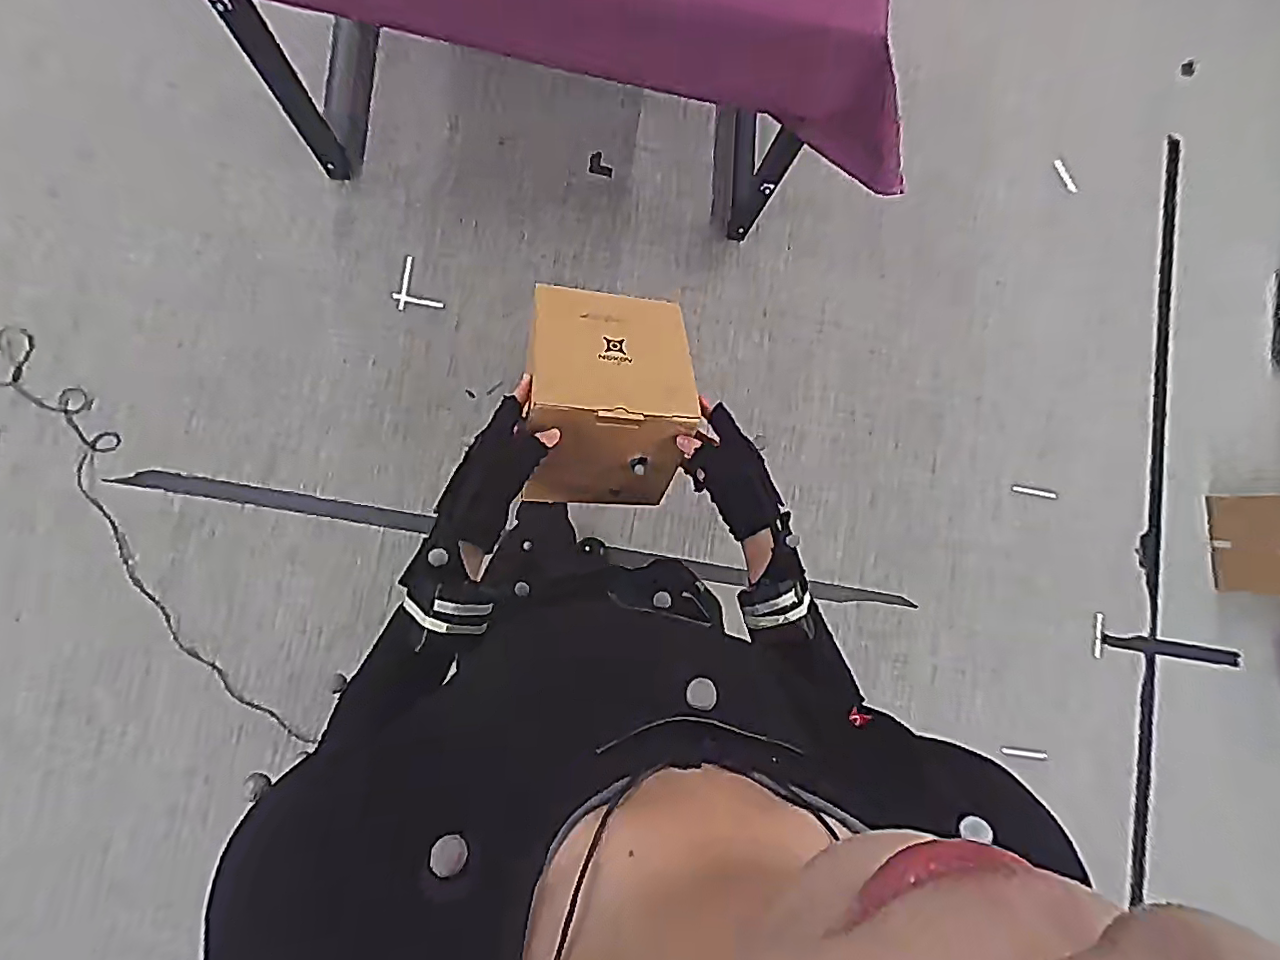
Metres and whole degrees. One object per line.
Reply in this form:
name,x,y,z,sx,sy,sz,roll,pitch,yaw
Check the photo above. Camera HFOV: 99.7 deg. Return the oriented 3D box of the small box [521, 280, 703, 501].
small box,-0.043,-0.091,0.610,0.168,0.176,0.179,4,54,-15
